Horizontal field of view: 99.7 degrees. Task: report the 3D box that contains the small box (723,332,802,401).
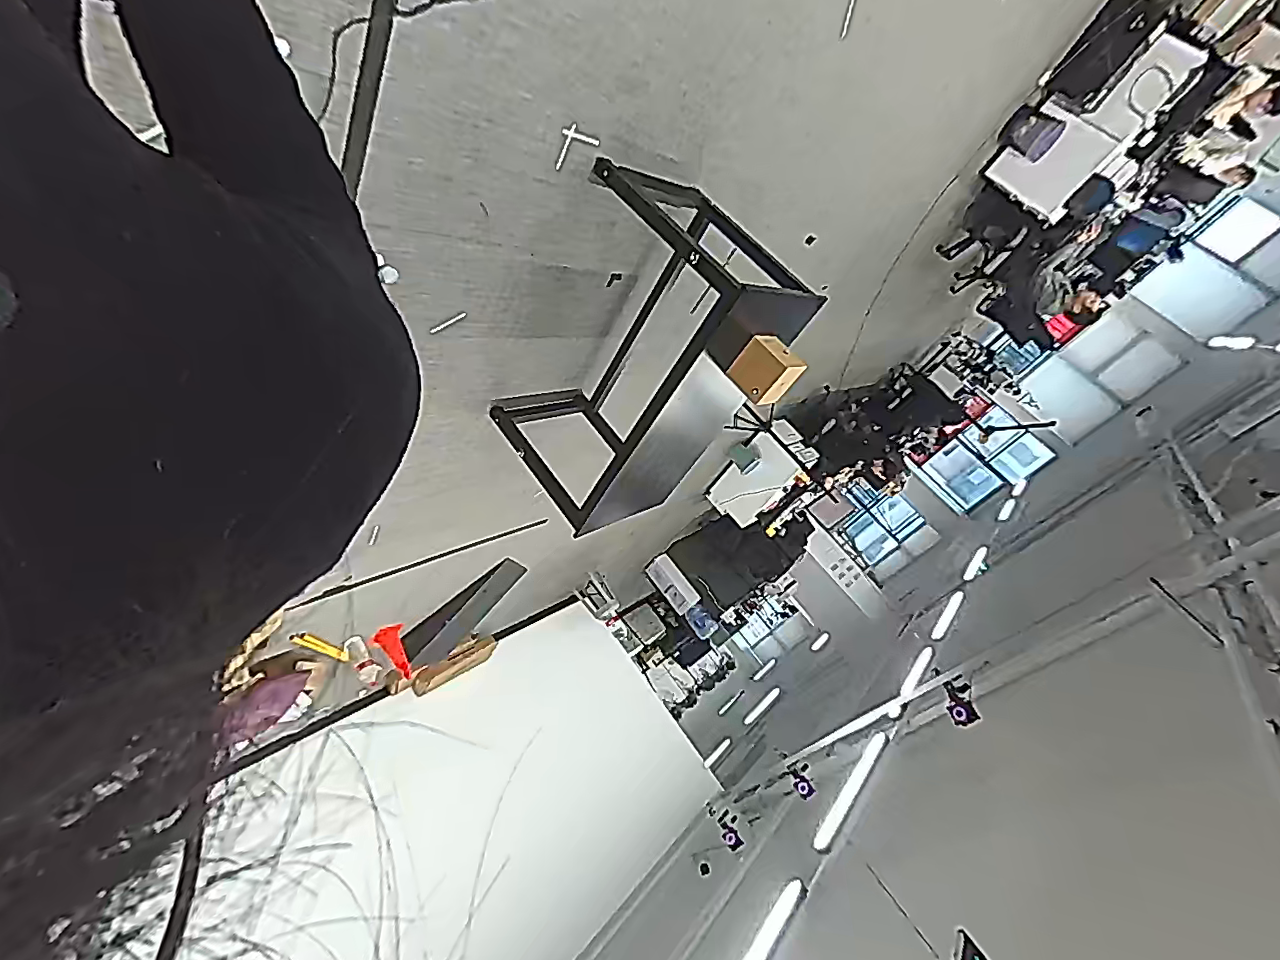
[{"bbox_3d":[0.427,-0.403,1.898,0.168,0.176,0.179,-17,151,-49],"label":"small box"}]
